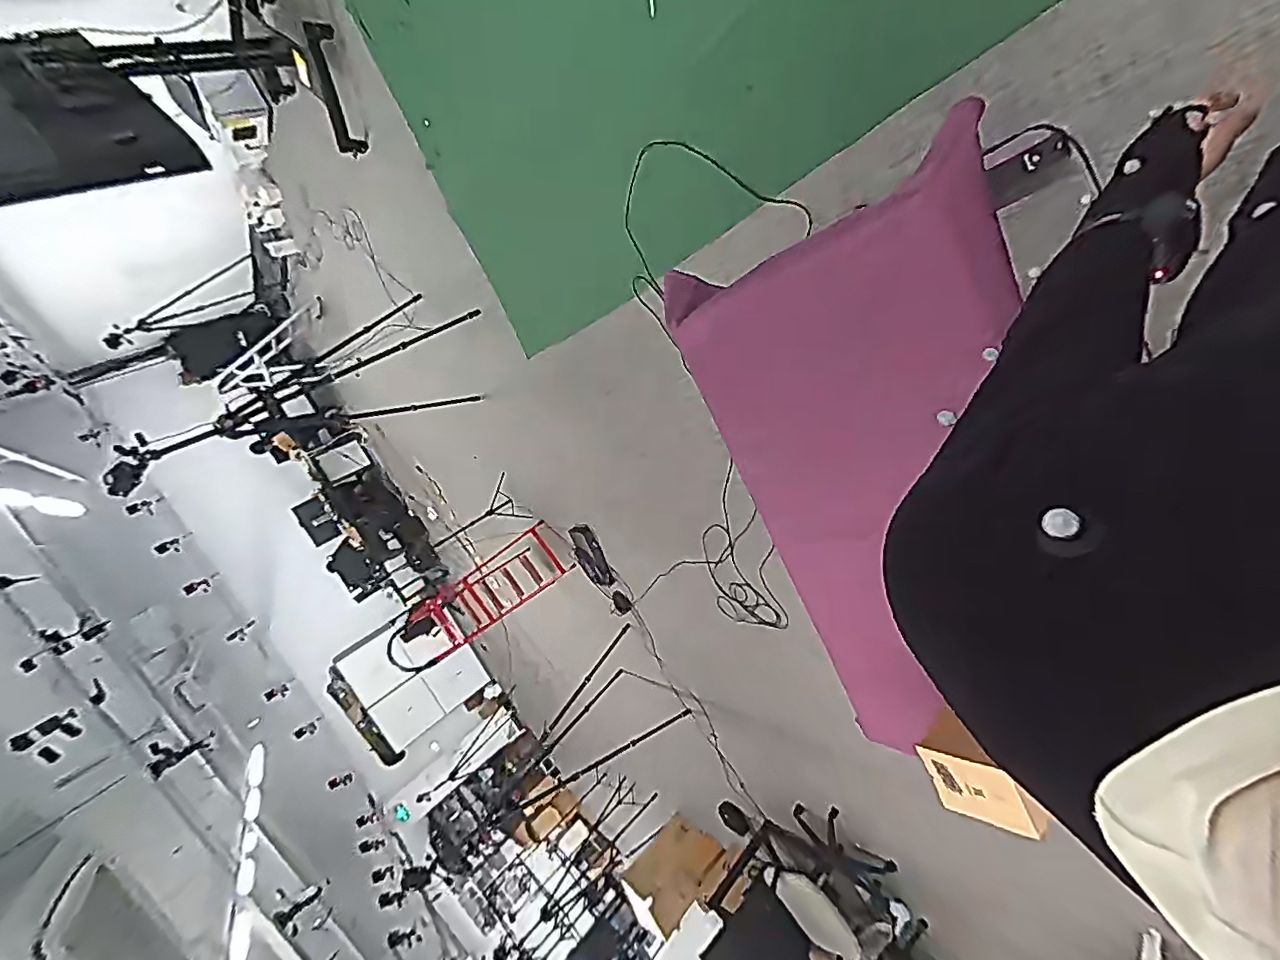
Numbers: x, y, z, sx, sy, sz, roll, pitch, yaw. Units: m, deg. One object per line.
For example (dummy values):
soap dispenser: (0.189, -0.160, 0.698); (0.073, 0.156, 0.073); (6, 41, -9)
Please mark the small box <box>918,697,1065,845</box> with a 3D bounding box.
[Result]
small box: (0.694, 0.558, 1.067); (0.179, 0.176, 0.168); (-15, 106, 55)
